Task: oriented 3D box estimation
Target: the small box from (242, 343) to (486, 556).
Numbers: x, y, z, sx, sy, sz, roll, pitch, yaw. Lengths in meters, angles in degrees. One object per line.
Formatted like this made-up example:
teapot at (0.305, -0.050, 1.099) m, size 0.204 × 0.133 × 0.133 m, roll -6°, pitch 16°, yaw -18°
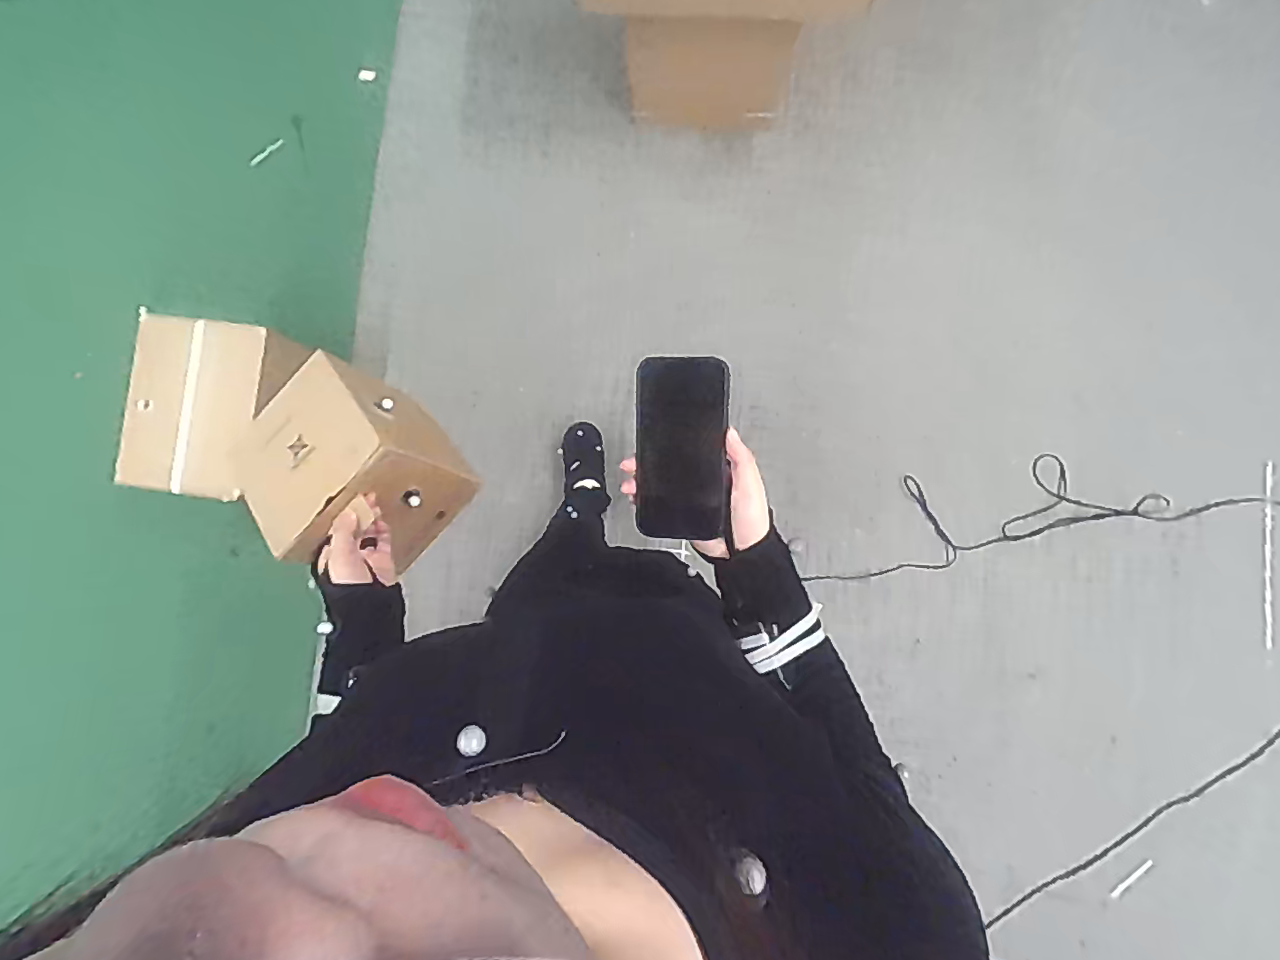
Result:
small box at (-0.321, -0.023, 0.651) m, size 0.168 × 0.176 × 0.179 m, roll -44°, pitch 64°, yaw 5°
